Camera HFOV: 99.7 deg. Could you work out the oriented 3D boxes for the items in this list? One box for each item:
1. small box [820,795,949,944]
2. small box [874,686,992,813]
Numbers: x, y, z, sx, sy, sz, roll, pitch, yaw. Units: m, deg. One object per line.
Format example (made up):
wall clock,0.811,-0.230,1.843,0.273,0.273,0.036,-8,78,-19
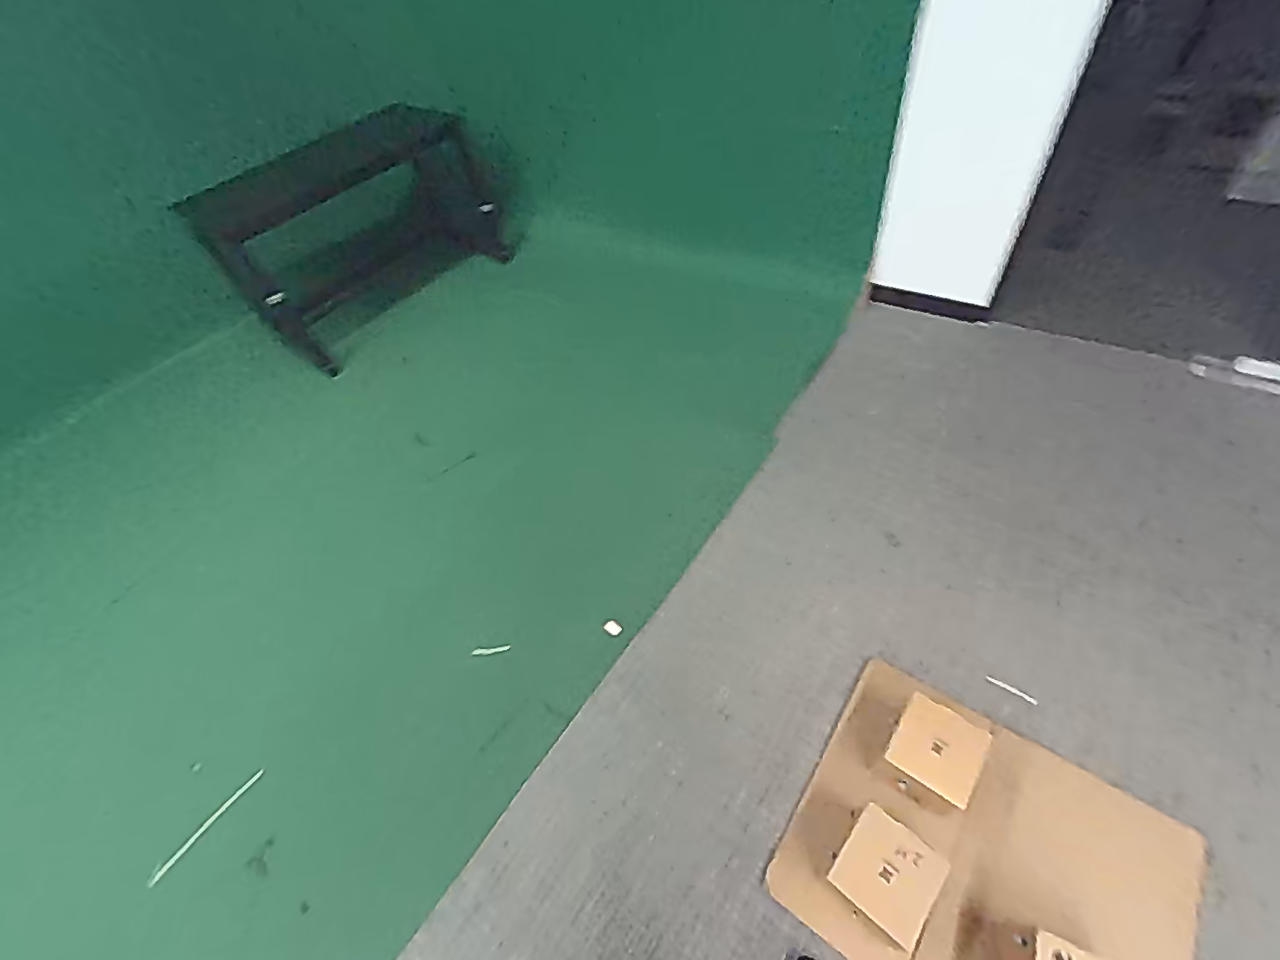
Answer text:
small box,0.480,0.781,1.089,0.168,0.176,0.179,33,63,30
small box,0.641,0.604,1.203,0.168,0.176,0.179,28,61,28
